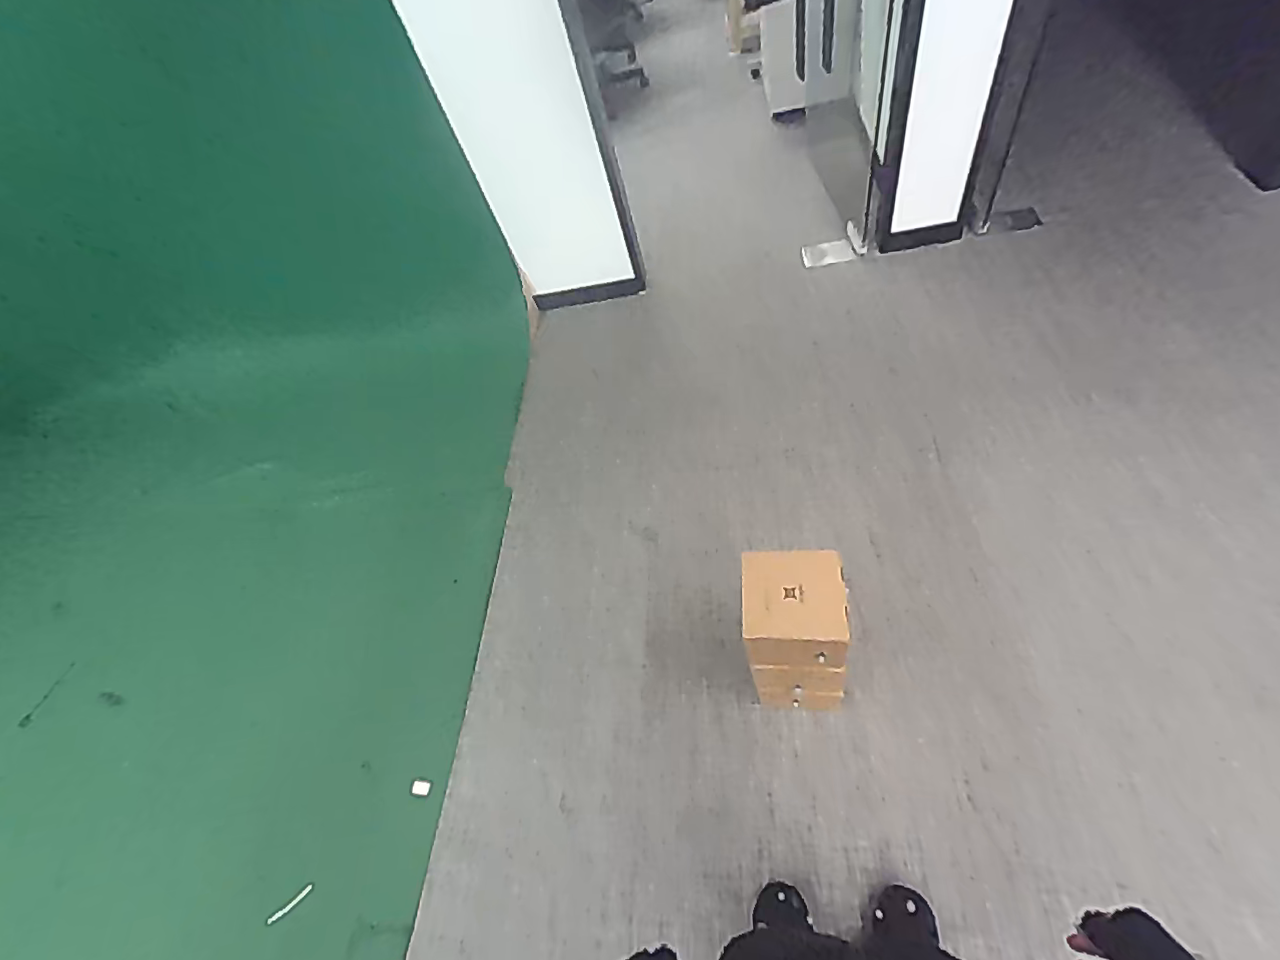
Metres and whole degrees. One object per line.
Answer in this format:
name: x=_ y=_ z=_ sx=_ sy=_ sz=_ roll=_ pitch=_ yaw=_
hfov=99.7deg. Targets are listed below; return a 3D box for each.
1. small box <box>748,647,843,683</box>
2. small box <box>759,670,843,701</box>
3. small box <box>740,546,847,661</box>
small box: x=0.323 y=0.323 z=1.140 sx=0.179 sy=0.176 sz=0.168 roll=-1 pitch=58 yaw=15
small box: x=0.367 y=0.416 z=1.268 sx=0.179 sy=0.176 sz=0.168 roll=-4 pitch=57 yaw=13
small box: x=0.282 y=0.233 z=1.011 sx=0.179 sy=0.176 sz=0.168 roll=-3 pitch=56 yaw=15
